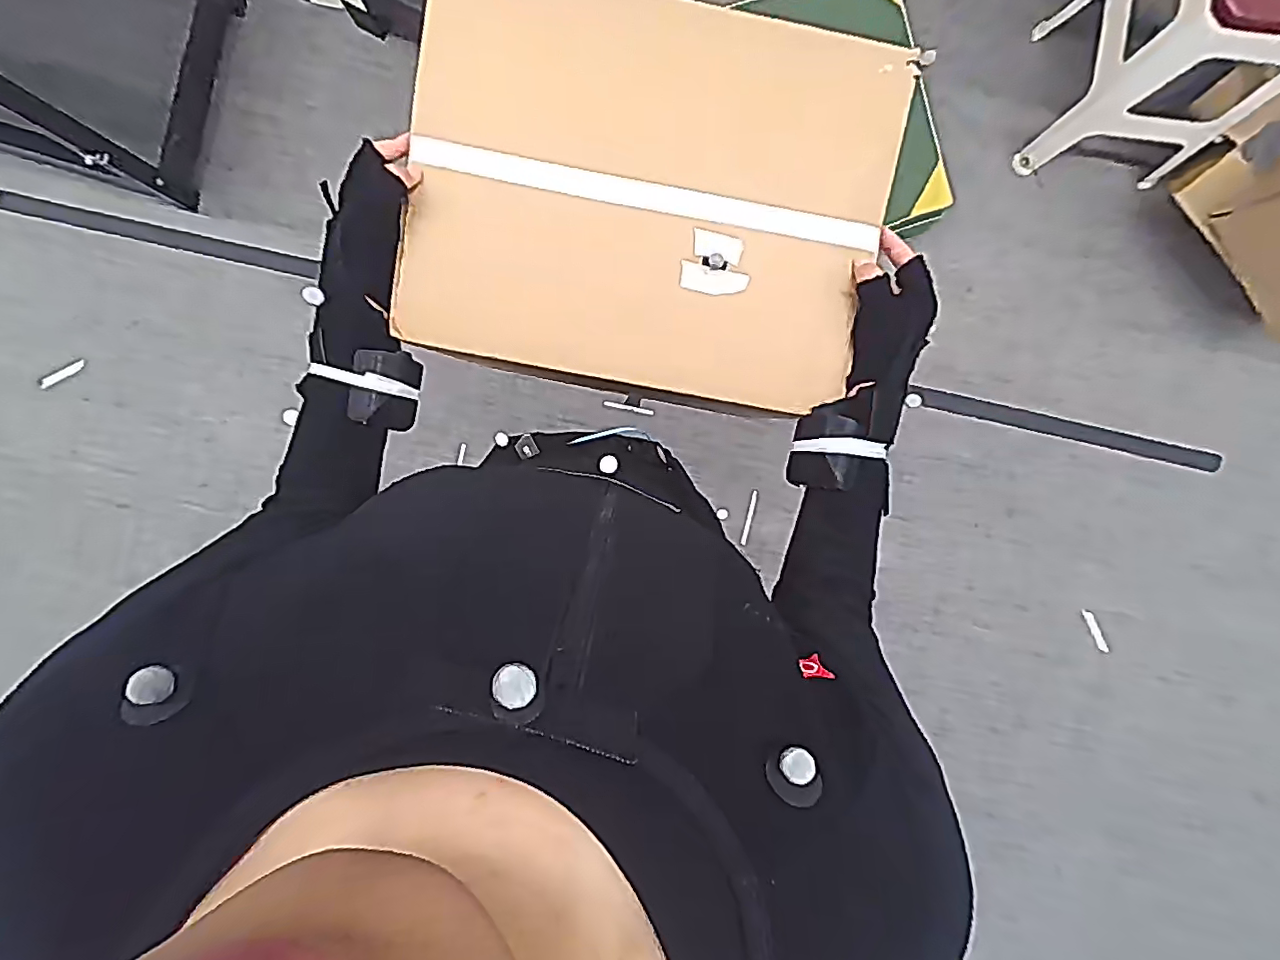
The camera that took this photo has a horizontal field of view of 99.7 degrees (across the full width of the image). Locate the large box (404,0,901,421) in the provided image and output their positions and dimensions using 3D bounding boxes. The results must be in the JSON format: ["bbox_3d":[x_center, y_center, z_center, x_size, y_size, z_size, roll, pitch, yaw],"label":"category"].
[{"bbox_3d":[0.001,-0.254,0.621,0.408,0.320,0.320,10,98,-3],"label":"large box"}]
